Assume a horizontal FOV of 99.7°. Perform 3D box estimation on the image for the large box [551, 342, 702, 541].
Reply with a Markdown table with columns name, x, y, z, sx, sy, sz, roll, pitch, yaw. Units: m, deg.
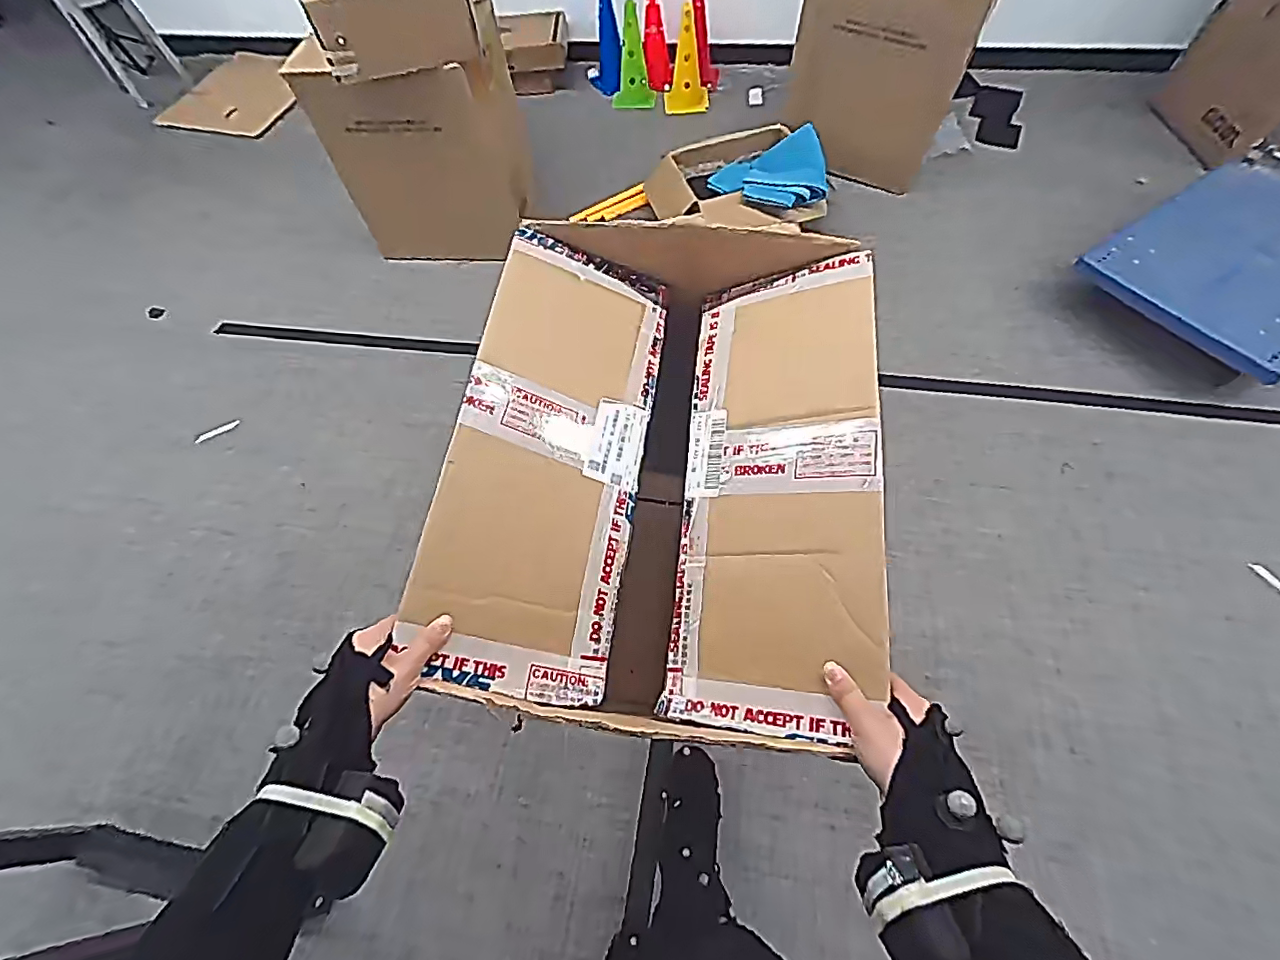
| name | x | y | z | sx | sy | sz | roll | pitch | yaw |
| --- | --- | --- | --- | --- | --- | --- | --- | --- | --- |
| large box | -0.016 | -0.095 | 1.398 | 0.320 | 0.320 | 0.408 | 5 | 62 | 7 |
